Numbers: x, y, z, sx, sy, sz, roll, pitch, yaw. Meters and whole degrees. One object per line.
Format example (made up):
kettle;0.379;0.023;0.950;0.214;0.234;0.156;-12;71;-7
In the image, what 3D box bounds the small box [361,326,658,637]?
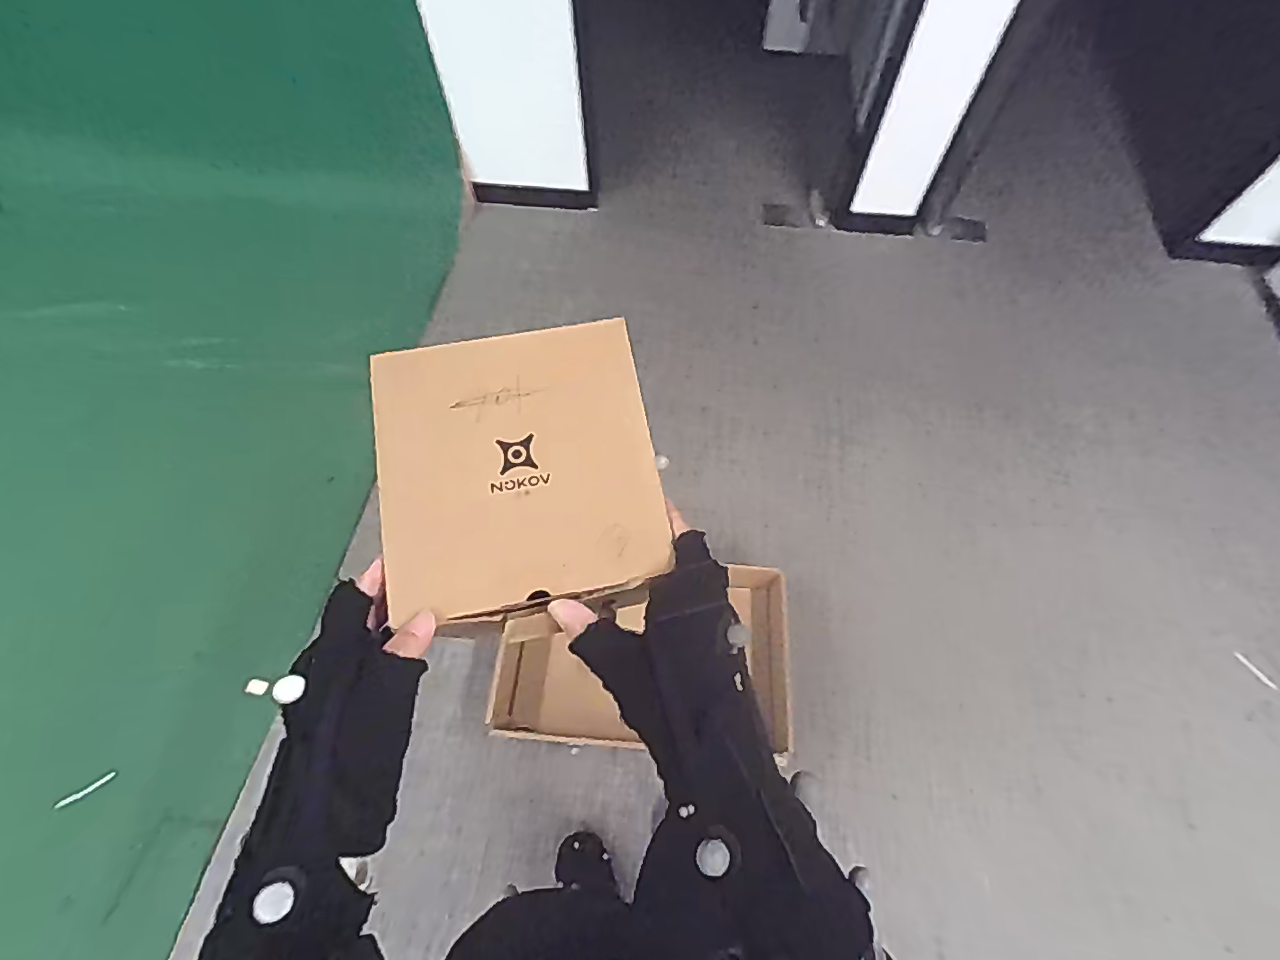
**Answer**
small box;-0.087;0.015;0.410;0.168;0.176;0.179;-11;73;-7
